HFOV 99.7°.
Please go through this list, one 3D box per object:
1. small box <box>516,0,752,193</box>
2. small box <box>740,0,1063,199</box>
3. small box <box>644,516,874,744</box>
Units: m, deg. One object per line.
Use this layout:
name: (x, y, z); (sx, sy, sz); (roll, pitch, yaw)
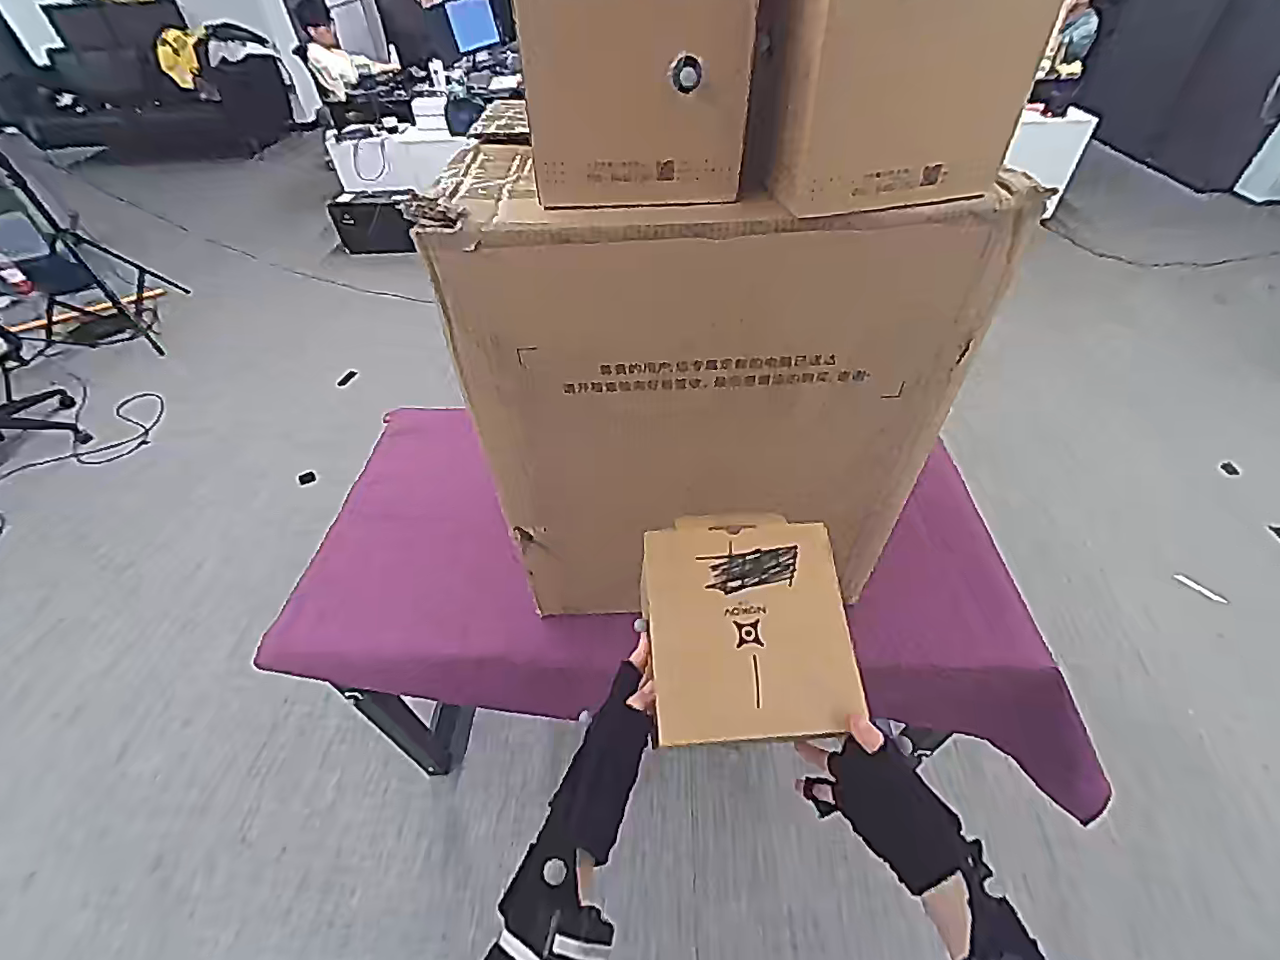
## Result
small box: (-0.005, -0.352, 0.448); (0.168, 0.176, 0.179); (-2, 45, -3)
small box: (0.184, -0.339, 0.424); (0.168, 0.176, 0.179); (-9, 45, -5)
small box: (0.091, 0.149, 0.516); (0.168, 0.176, 0.179); (-3, 63, -2)
